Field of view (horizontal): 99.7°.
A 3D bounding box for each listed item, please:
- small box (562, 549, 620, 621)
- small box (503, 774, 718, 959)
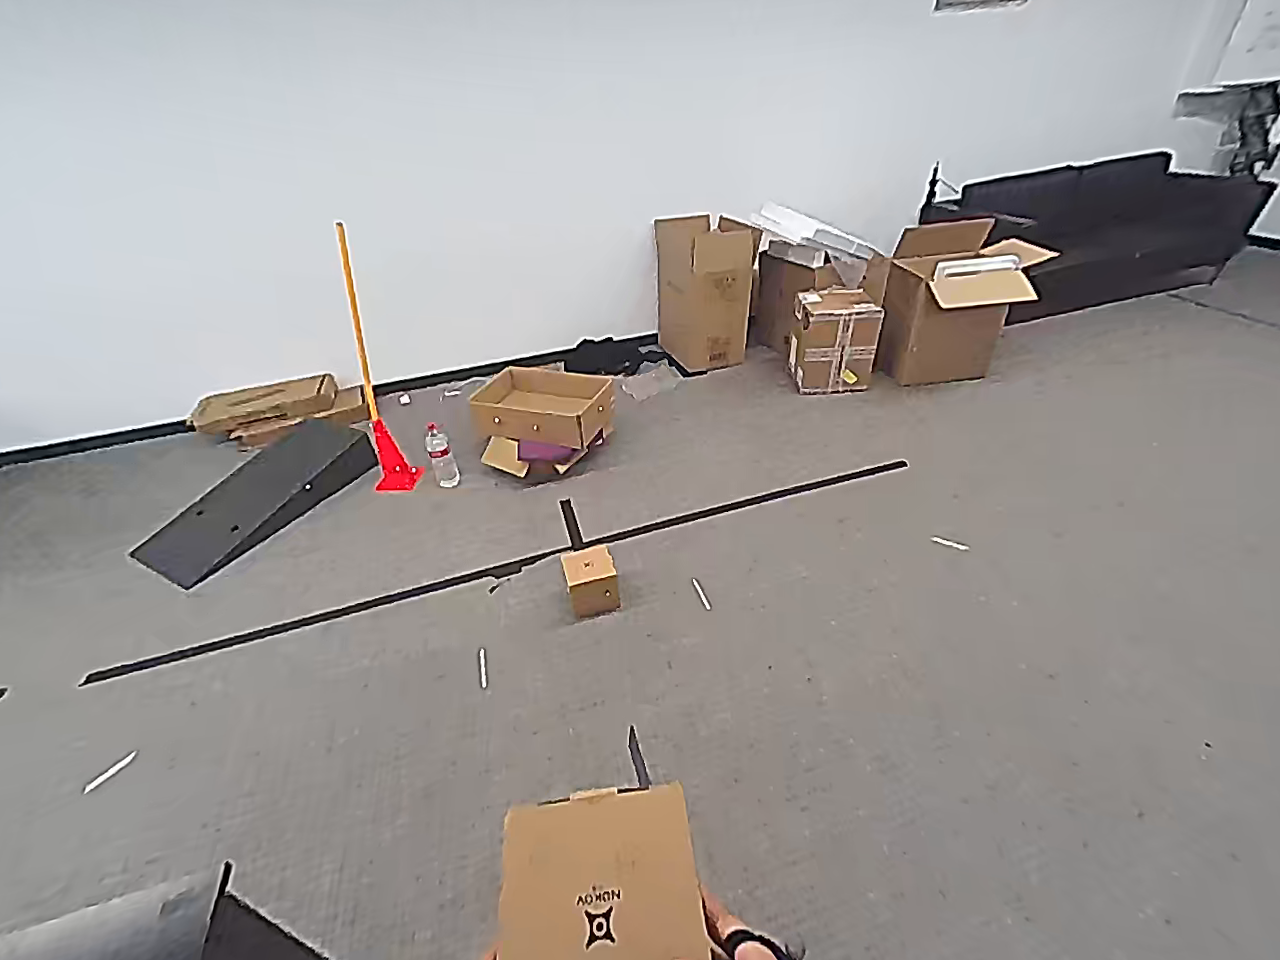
[{"bbox_3d":[-0.175,0.383,1.976,0.179,0.176,0.168,-14,36,-11],"label":"small box"},{"bbox_3d":[-0.022,0.401,0.488,0.168,0.176,0.179,-9,40,-2],"label":"small box"}]
